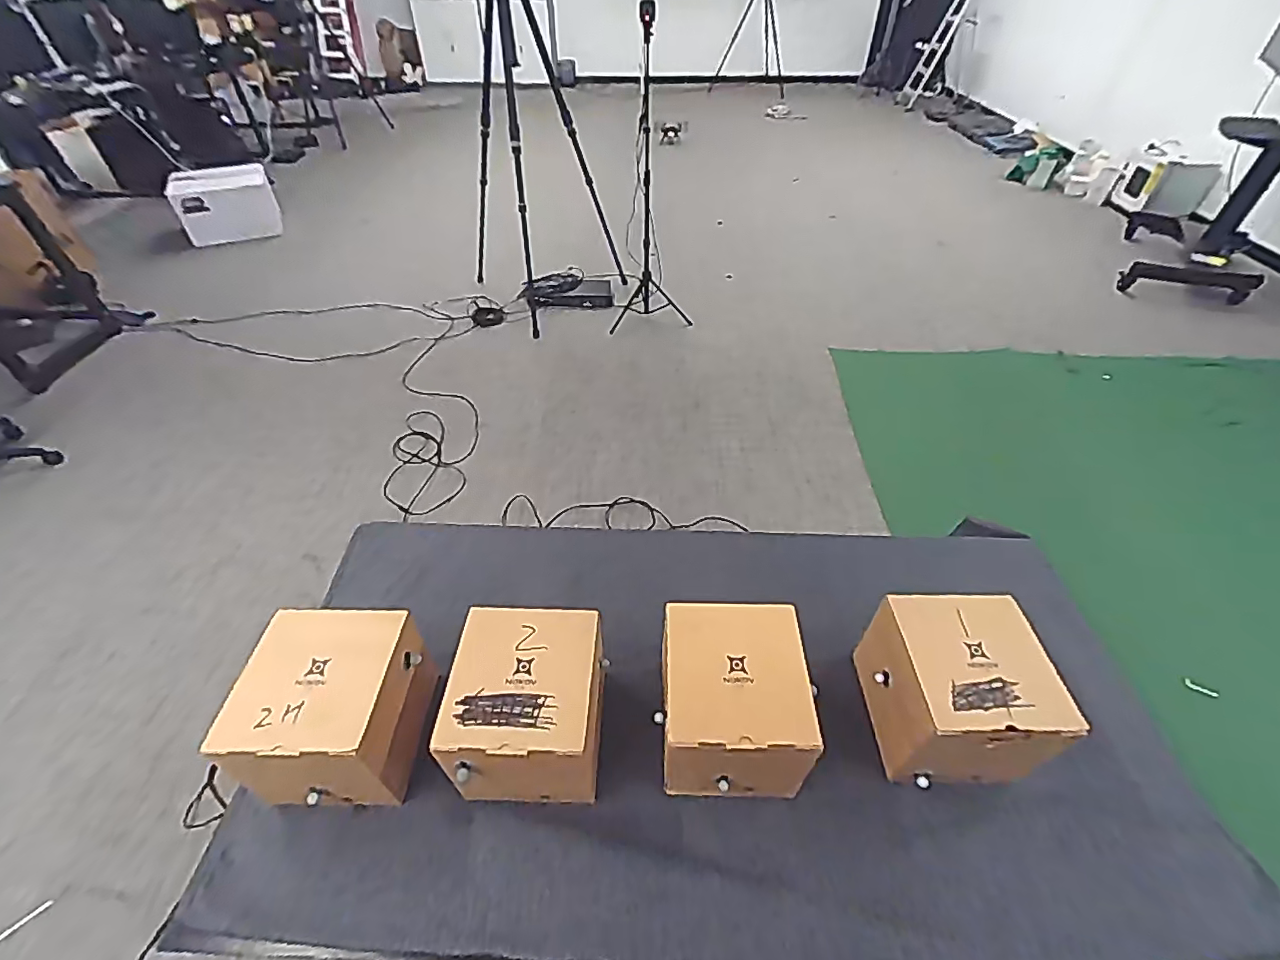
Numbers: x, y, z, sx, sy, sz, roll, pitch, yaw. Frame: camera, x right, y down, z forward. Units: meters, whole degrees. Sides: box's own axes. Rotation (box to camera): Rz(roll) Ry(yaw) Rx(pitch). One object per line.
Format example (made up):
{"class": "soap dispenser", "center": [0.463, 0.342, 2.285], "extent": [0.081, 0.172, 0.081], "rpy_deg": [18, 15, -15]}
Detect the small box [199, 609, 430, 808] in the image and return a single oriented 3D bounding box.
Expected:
{"class": "small box", "center": [-0.377, 0.282, 0.672], "extent": [0.168, 0.176, 0.179], "rpy_deg": [1, 43, -1]}

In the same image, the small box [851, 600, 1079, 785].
{"class": "small box", "center": [0.393, 0.275, 0.695], "extent": [0.168, 0.176, 0.179], "rpy_deg": [1, 44, 0]}

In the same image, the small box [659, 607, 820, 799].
{"class": "small box", "center": [0.110, 0.283, 0.688], "extent": [0.168, 0.176, 0.179], "rpy_deg": [1, 45, 0]}
